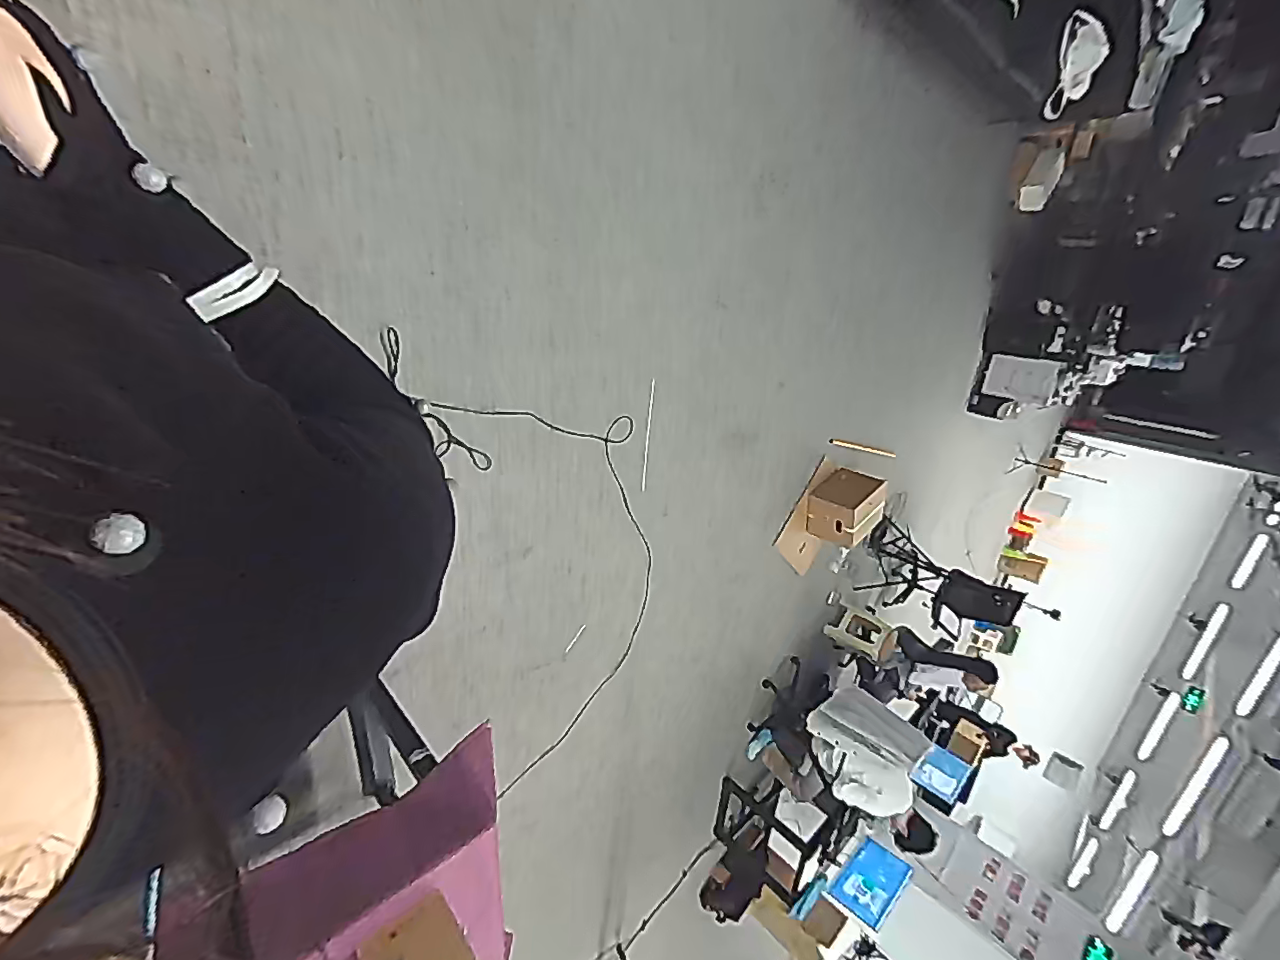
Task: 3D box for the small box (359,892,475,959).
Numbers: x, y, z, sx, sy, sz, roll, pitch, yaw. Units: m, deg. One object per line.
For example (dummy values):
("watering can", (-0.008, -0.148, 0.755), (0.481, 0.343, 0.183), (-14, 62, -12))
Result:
("small box", (-0.440, 0.980, 1.080), (0.168, 0.176, 0.179), (-18, 122, -40))
